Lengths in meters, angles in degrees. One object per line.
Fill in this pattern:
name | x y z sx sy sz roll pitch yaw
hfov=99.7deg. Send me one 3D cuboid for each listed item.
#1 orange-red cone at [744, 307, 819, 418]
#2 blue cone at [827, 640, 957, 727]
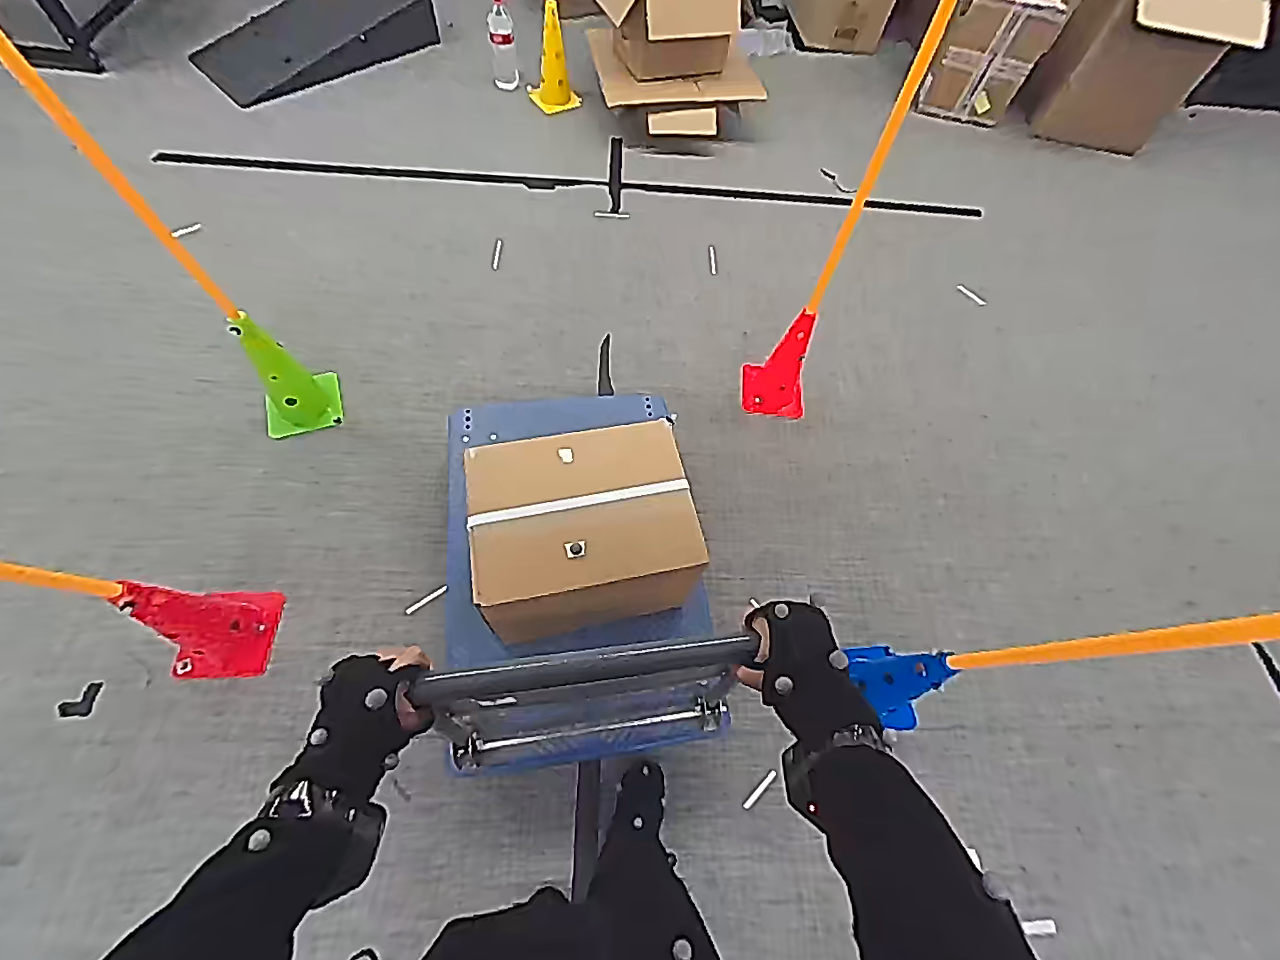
orange-red cone | 0.455 -0.373 1.616 0.199 0.360 0.198 8 62 -2
blue cone | 0.589 0.431 1.210 0.193 0.380 0.192 -2 61 -7
